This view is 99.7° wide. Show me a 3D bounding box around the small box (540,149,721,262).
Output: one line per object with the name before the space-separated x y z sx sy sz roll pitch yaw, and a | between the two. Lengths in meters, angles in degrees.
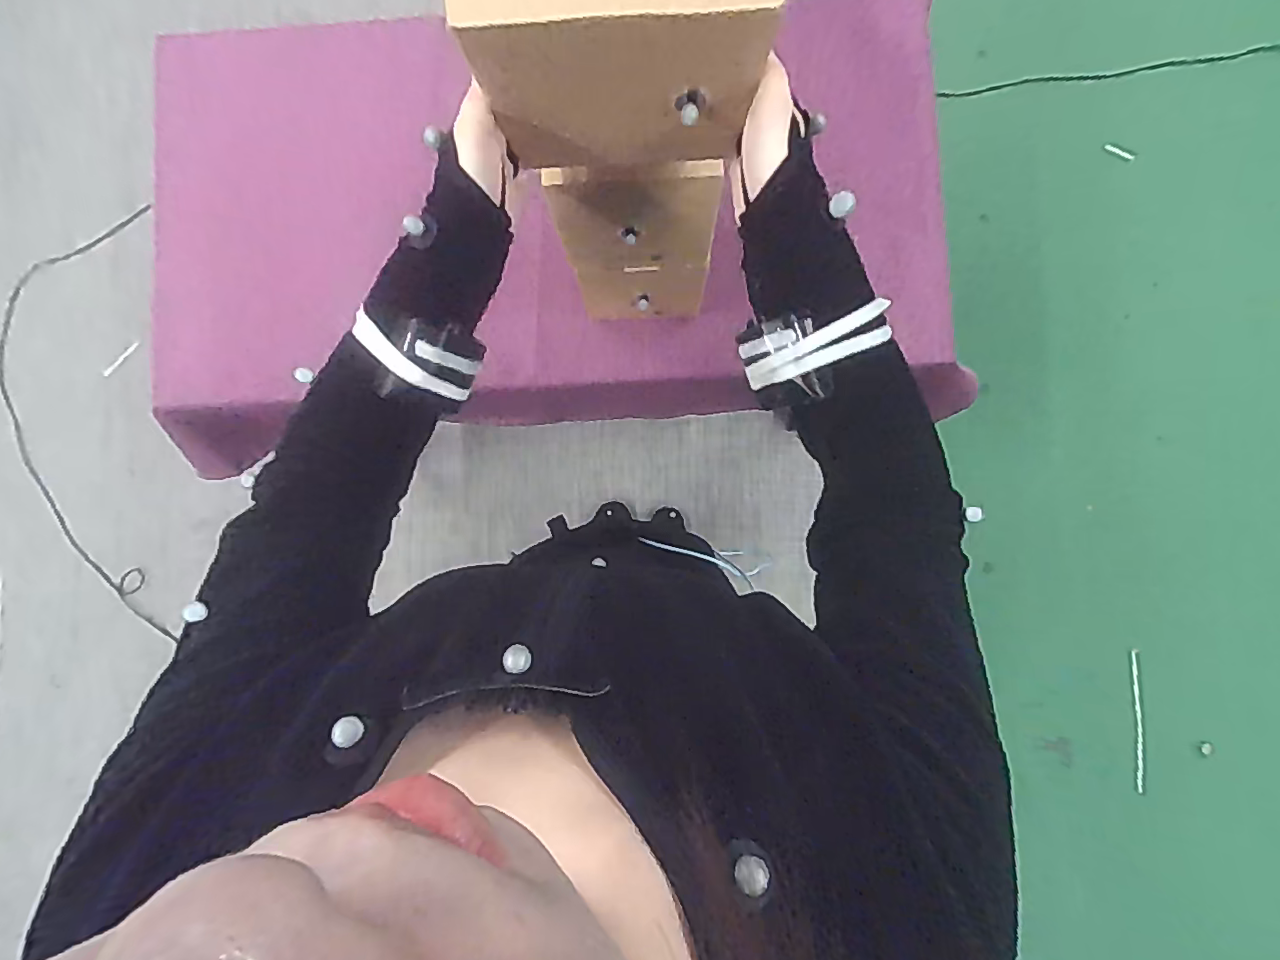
small box | -0.005 -0.346 0.566 0.168 0.176 0.179 0 85 0

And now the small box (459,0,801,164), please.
small box | -0.007 -0.322 0.342 0.179 0.176 0.168 -2 98 1

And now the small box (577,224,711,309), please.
small box | 0.007 -0.340 0.733 0.168 0.176 0.179 -1 87 1
